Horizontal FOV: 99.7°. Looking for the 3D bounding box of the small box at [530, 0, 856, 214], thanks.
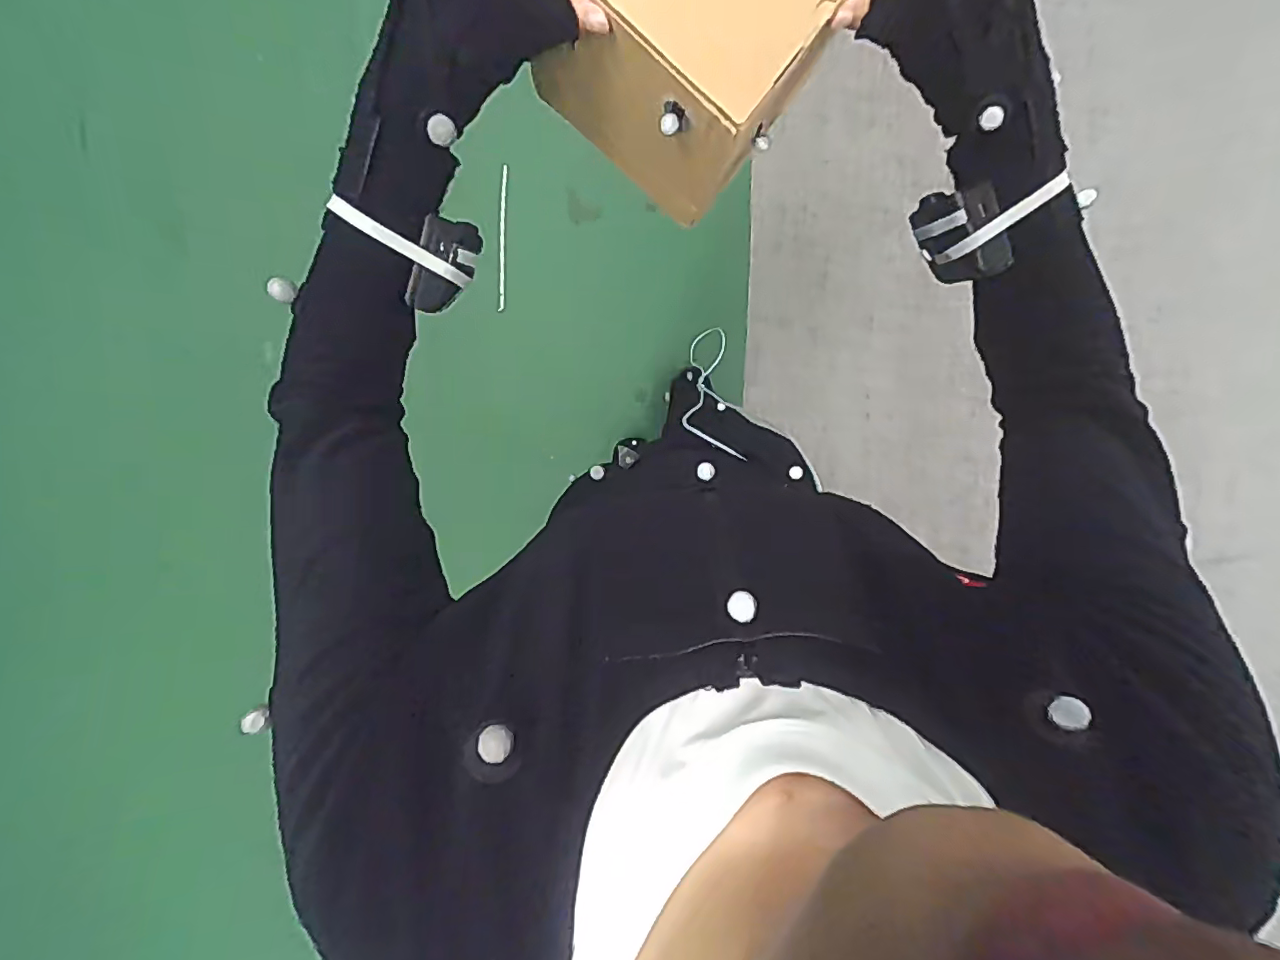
[{"bbox_3d":[0.033,-0.334,0.391,0.179,0.176,0.168,39,91,-9],"label":"small box"}]
